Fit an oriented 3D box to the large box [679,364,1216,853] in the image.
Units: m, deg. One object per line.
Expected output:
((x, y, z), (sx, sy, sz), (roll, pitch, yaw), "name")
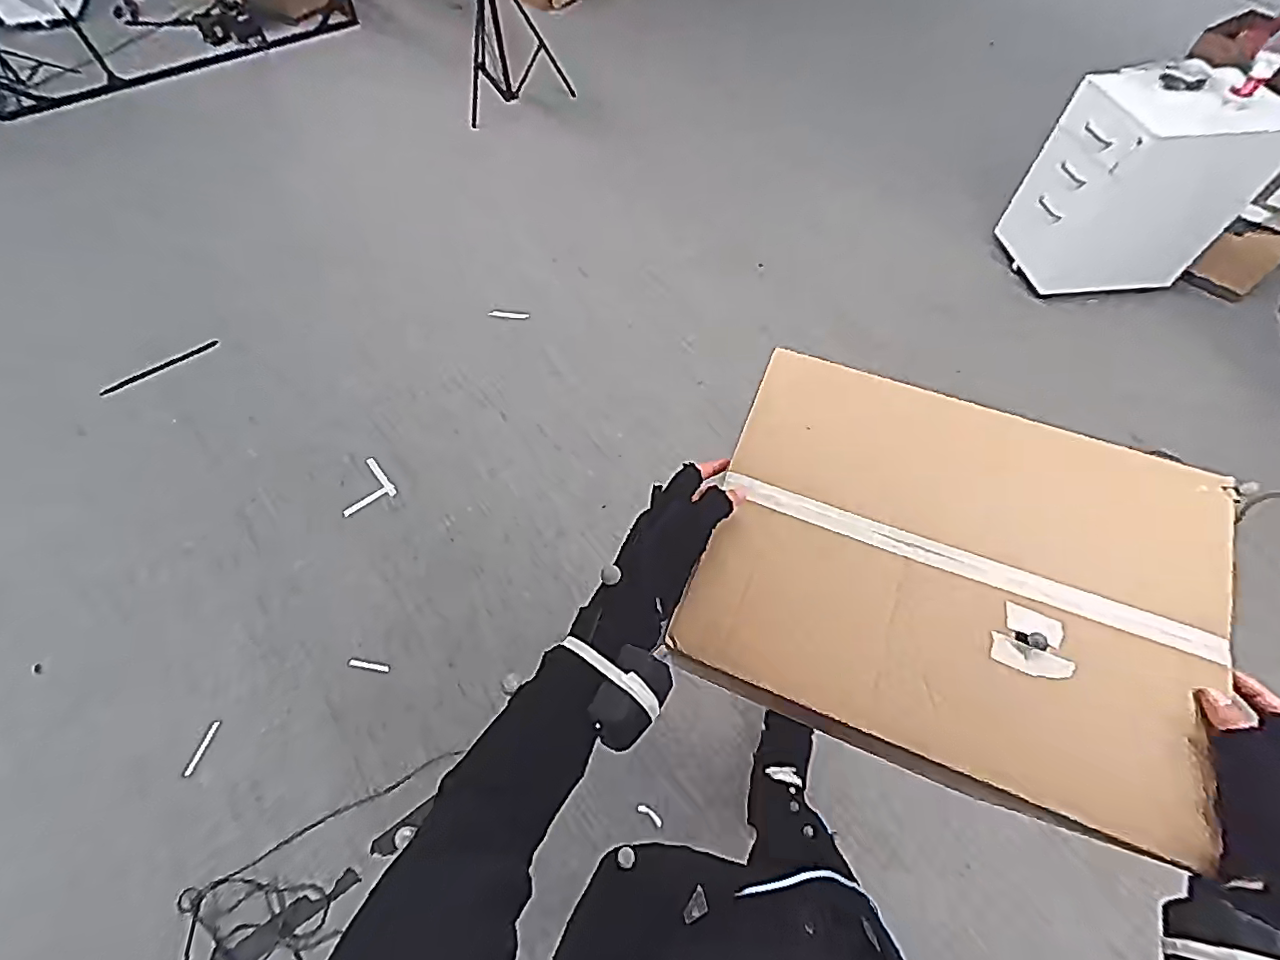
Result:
((0.280, 0.128, 0.609), (0.408, 0.320, 0.320), (20, 72, 12), "large box")
